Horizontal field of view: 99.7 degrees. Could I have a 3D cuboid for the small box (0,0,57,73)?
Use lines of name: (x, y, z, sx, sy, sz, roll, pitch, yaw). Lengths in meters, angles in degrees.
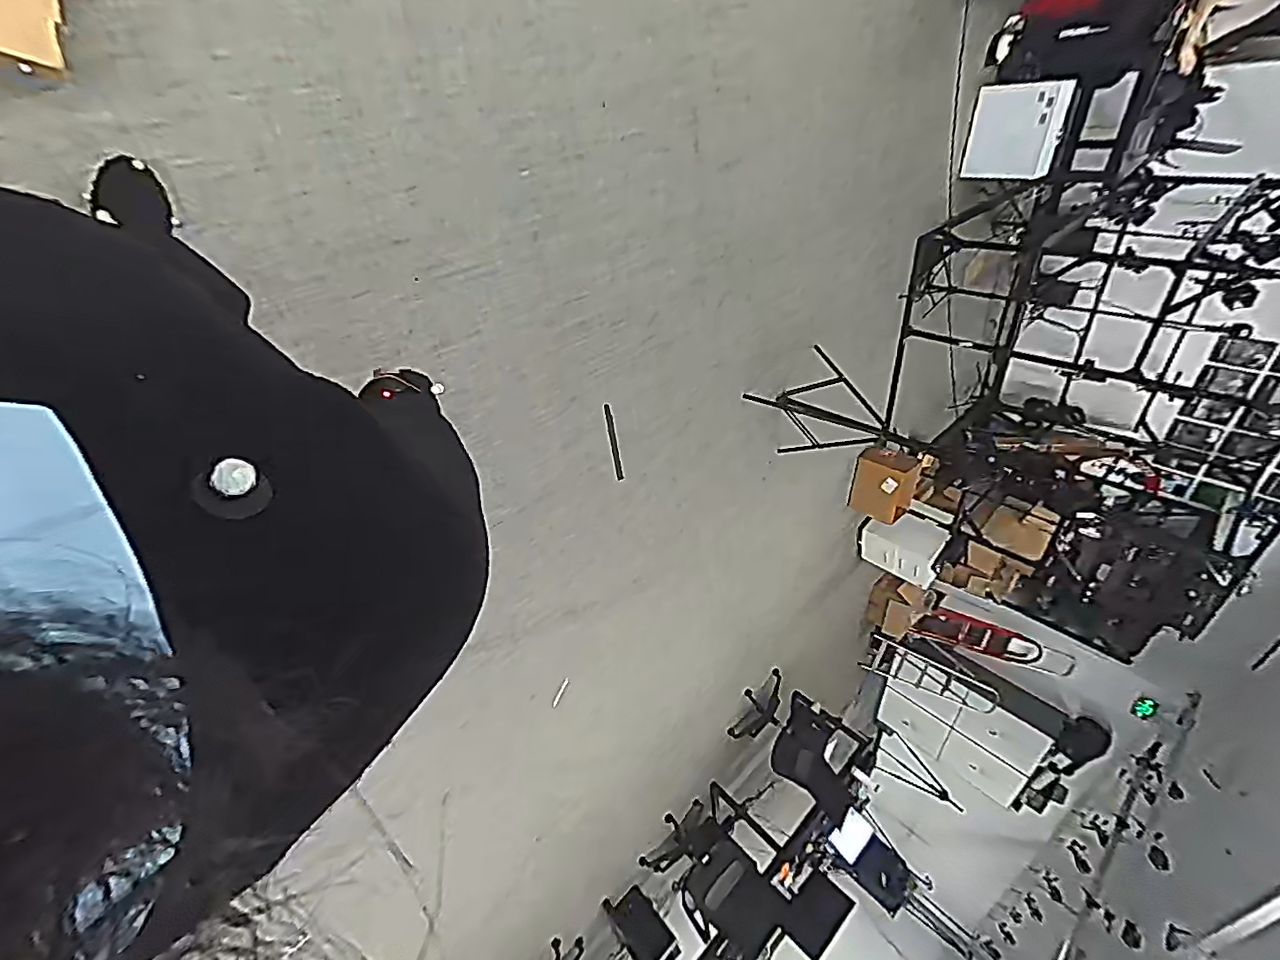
small box: (-0.975, -0.716, 0.774, 0.179, 0.176, 0.168, -7, 117, -45)
